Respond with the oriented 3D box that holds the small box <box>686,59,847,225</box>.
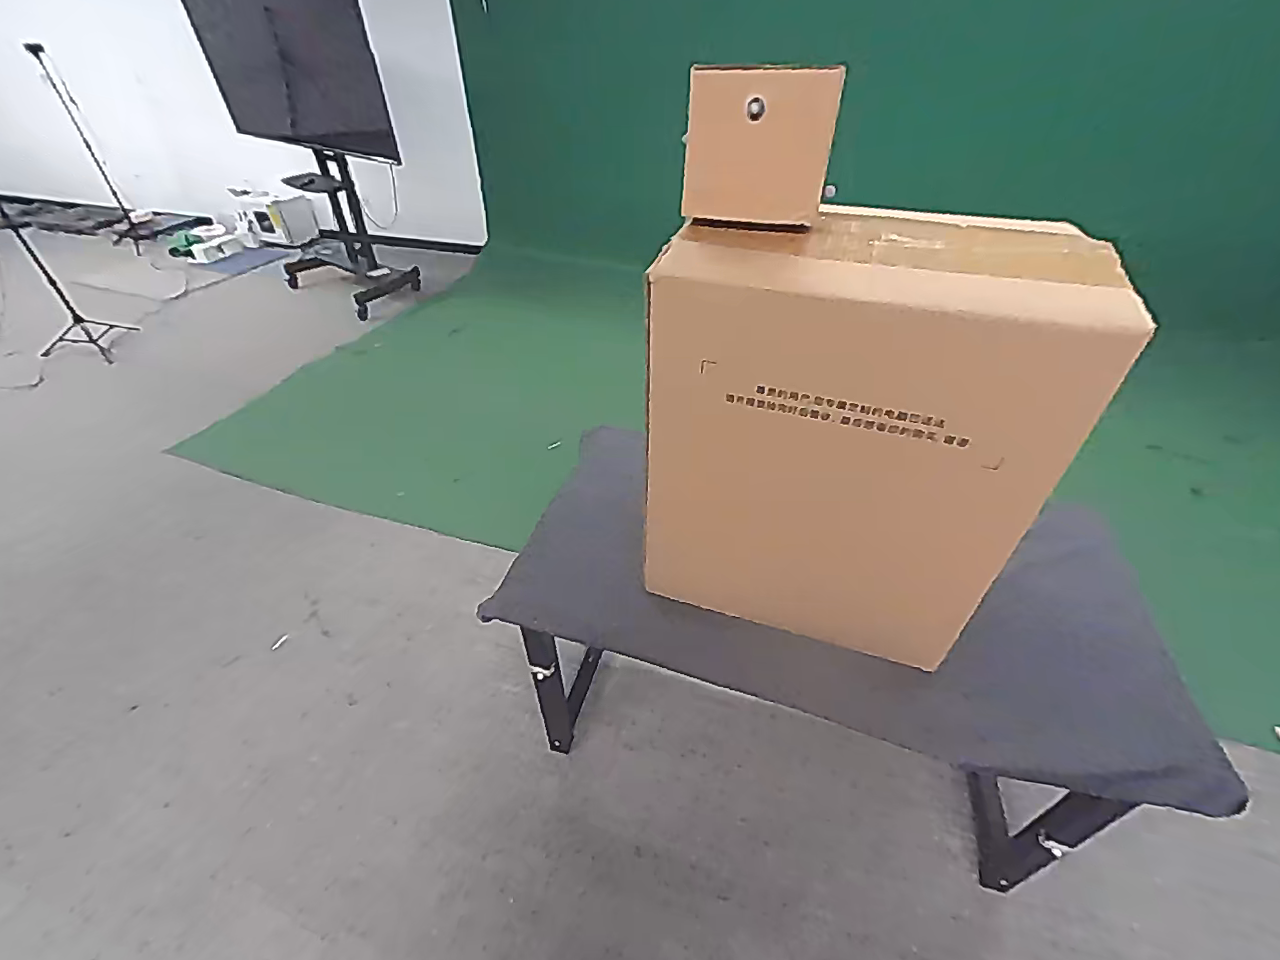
[{"bbox_3d":[0.167,-0.449,0.728,0.179,0.176,0.168,13,35,12],"label":"small box"}]
